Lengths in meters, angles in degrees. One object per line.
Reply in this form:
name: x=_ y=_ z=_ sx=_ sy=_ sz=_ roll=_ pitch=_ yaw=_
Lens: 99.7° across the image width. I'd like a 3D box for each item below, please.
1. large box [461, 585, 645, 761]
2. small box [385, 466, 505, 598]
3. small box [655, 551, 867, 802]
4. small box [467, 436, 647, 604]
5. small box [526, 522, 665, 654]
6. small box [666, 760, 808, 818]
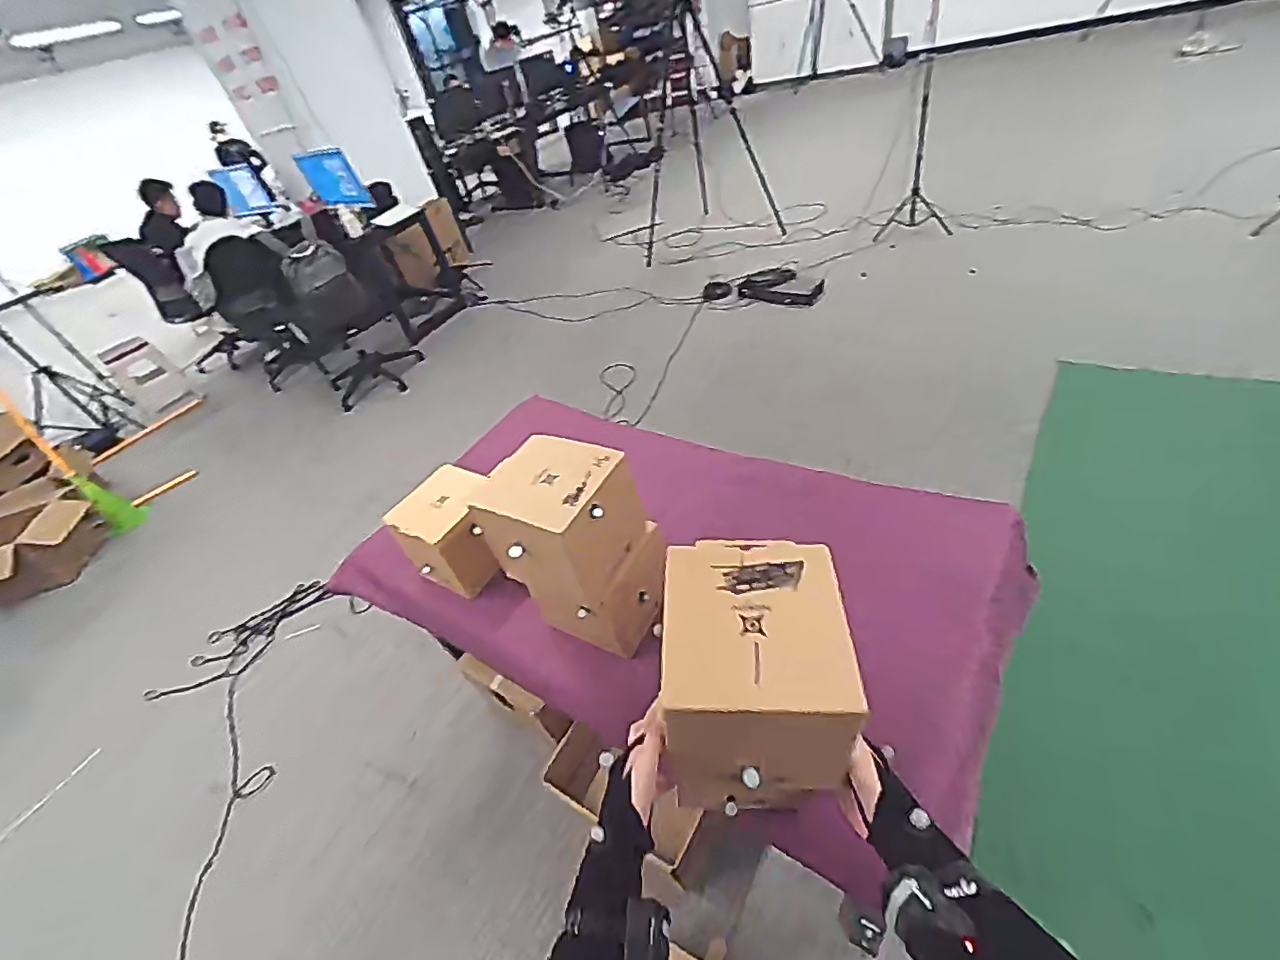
large box: x=-0.232 y=0.523 z=1.597 sx=0.320 sy=0.320 sz=0.408 roll=15 pitch=51 yaw=31
small box: x=-0.364 y=0.103 z=1.094 sx=0.168 sy=0.176 sz=0.179 roll=15 pitch=50 yaw=31
small box: x=0.106 y=0.190 z=0.533 sx=0.168 sy=0.176 sz=0.179 roll=-2 pitch=43 yaw=7
small box: x=-0.114 y=0.058 z=0.805 sx=0.179 sy=0.176 sz=0.168 roll=12 pitch=48 yaw=30
small box: x=-0.065 y=0.168 z=0.919 sx=0.179 sy=0.176 sz=0.168 roll=13 pitch=48 yaw=31
small box: x=0.114 y=0.292 z=0.666 sx=0.168 sy=0.176 sz=0.179 roll=-3 pitch=43 yaw=3
